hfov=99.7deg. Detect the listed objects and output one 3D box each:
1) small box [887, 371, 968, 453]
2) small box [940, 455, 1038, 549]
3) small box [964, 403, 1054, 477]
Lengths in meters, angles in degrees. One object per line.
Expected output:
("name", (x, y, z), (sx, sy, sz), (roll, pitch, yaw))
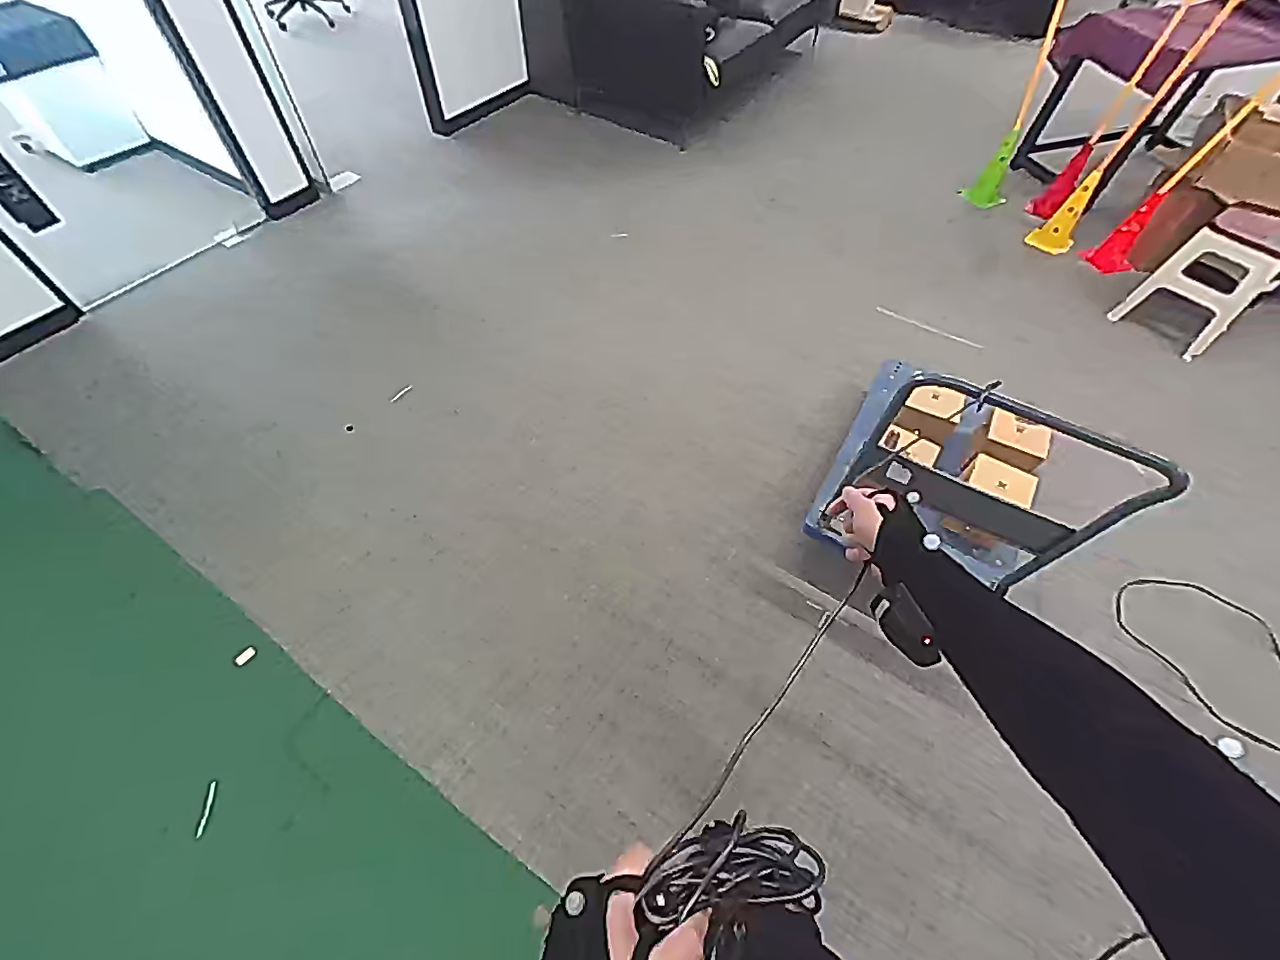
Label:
("small box", (0.934, -0.217, 1.768), (0.168, 0.176, 0.179), (25, 59, 14))
("small box", (1.013, 0.068, 1.580), (0.168, 0.176, 0.179), (30, 61, 17))
("small box", (1.151, -0.103, 1.697), (0.168, 0.176, 0.179), (26, 60, 16))
